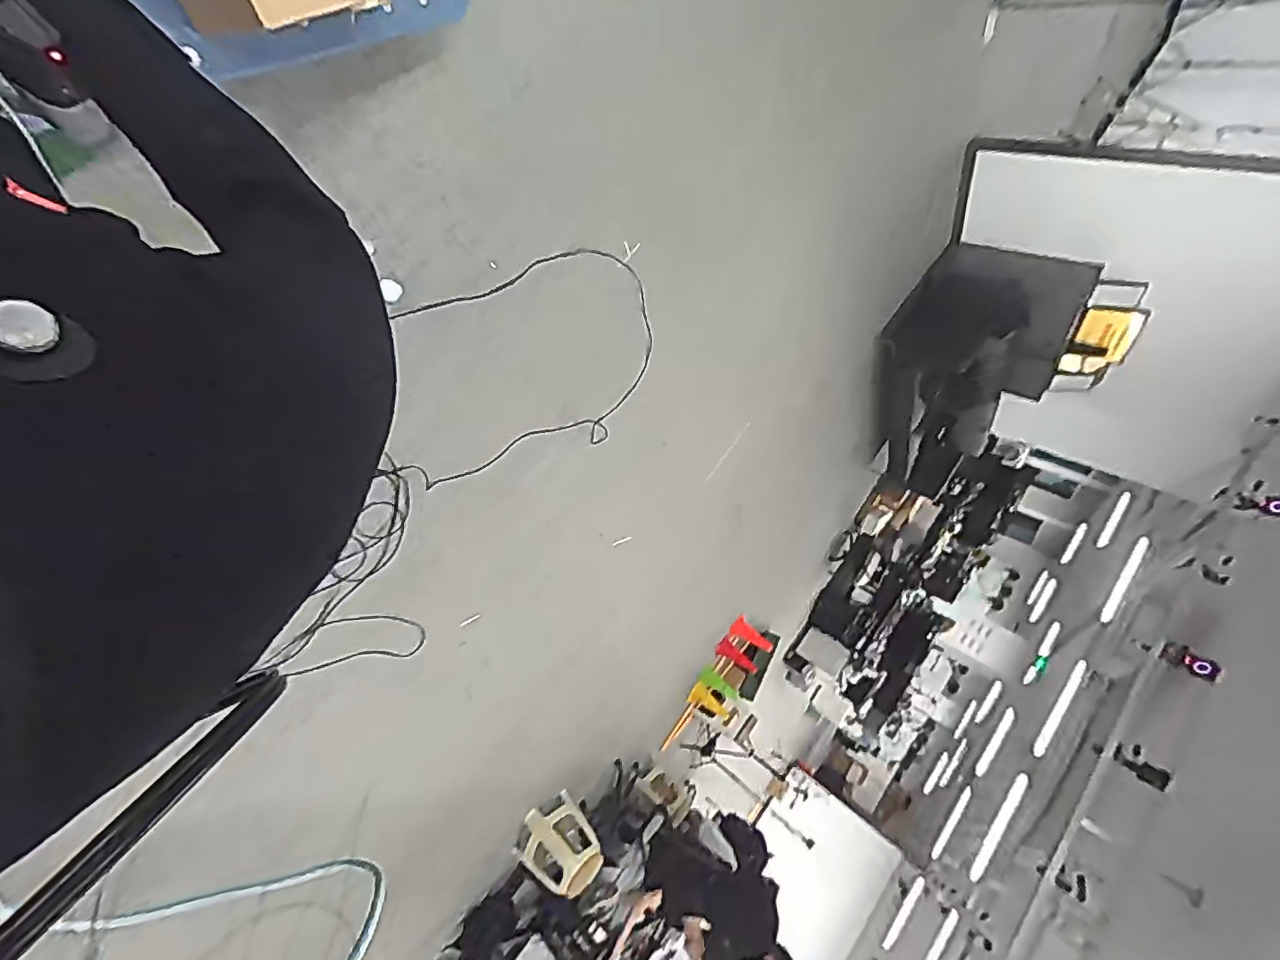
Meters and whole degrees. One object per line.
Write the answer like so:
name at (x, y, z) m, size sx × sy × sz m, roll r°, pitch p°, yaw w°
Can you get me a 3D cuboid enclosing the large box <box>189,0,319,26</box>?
large box at (-0.533, -0.891, 0.701) m, size 0.320 × 0.320 × 0.408 m, roll -43°, pitch 143°, yaw -24°
